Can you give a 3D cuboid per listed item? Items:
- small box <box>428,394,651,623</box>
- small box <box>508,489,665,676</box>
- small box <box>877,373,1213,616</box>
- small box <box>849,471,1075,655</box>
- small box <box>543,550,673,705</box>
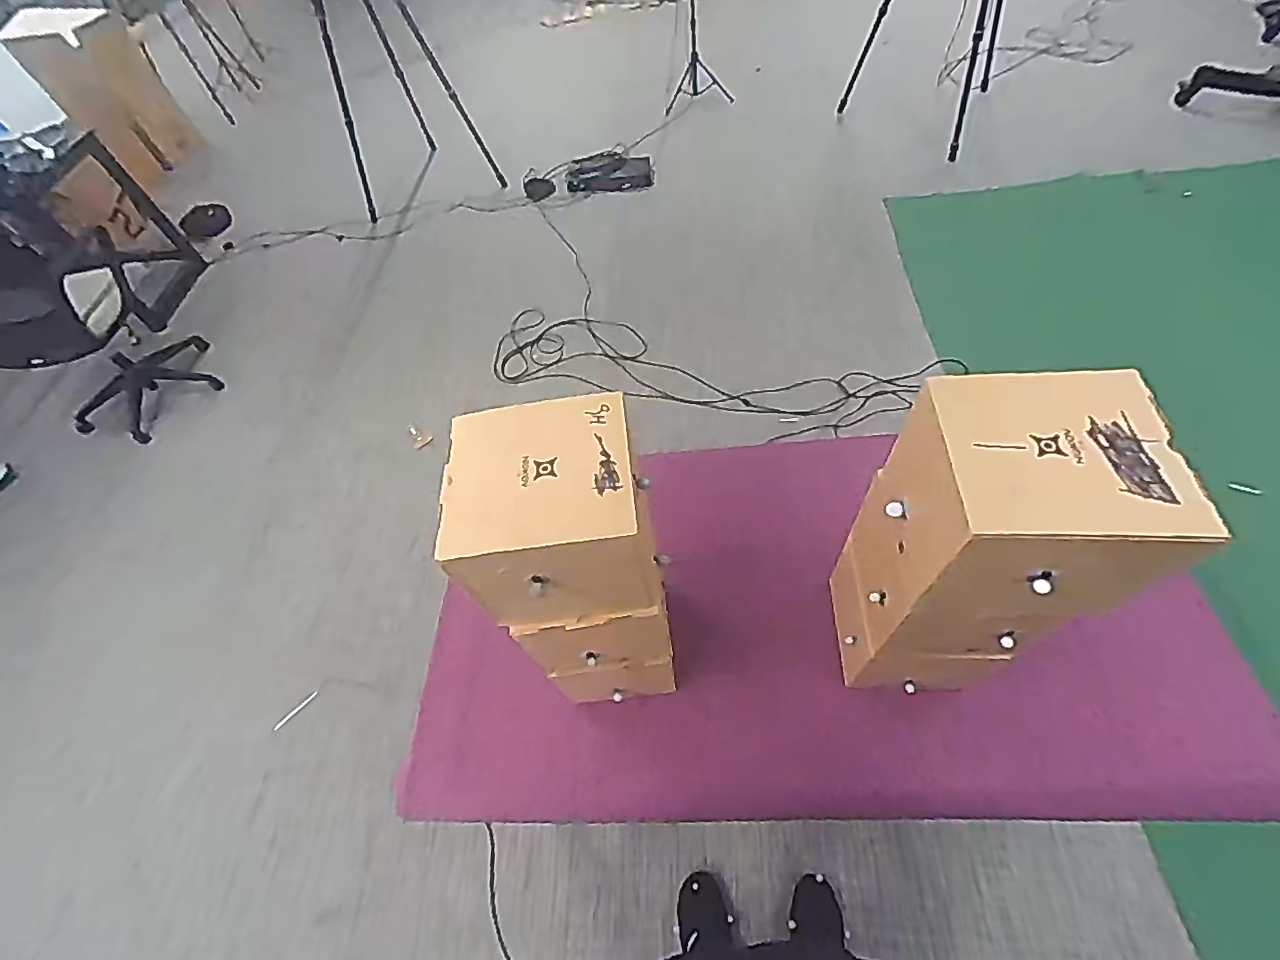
[{"bbox_3d":[-0.091,0.038,0.564,0.179,0.176,0.168,-9,56,3],"label":"small box"},{"bbox_3d":[-0.063,0.133,0.695,0.168,0.176,0.179,-9,55,2],"label":"small box"},{"bbox_3d":[0.342,0.020,0.506,0.179,0.176,0.168,-1,56,10],"label":"small box"},{"bbox_3d":[0.360,0.103,0.646,0.168,0.176,0.179,-2,56,7],"label":"small box"},{"bbox_3d":[-0.044,0.228,0.826,0.168,0.176,0.179,-8,55,4],"label":"small box"}]
